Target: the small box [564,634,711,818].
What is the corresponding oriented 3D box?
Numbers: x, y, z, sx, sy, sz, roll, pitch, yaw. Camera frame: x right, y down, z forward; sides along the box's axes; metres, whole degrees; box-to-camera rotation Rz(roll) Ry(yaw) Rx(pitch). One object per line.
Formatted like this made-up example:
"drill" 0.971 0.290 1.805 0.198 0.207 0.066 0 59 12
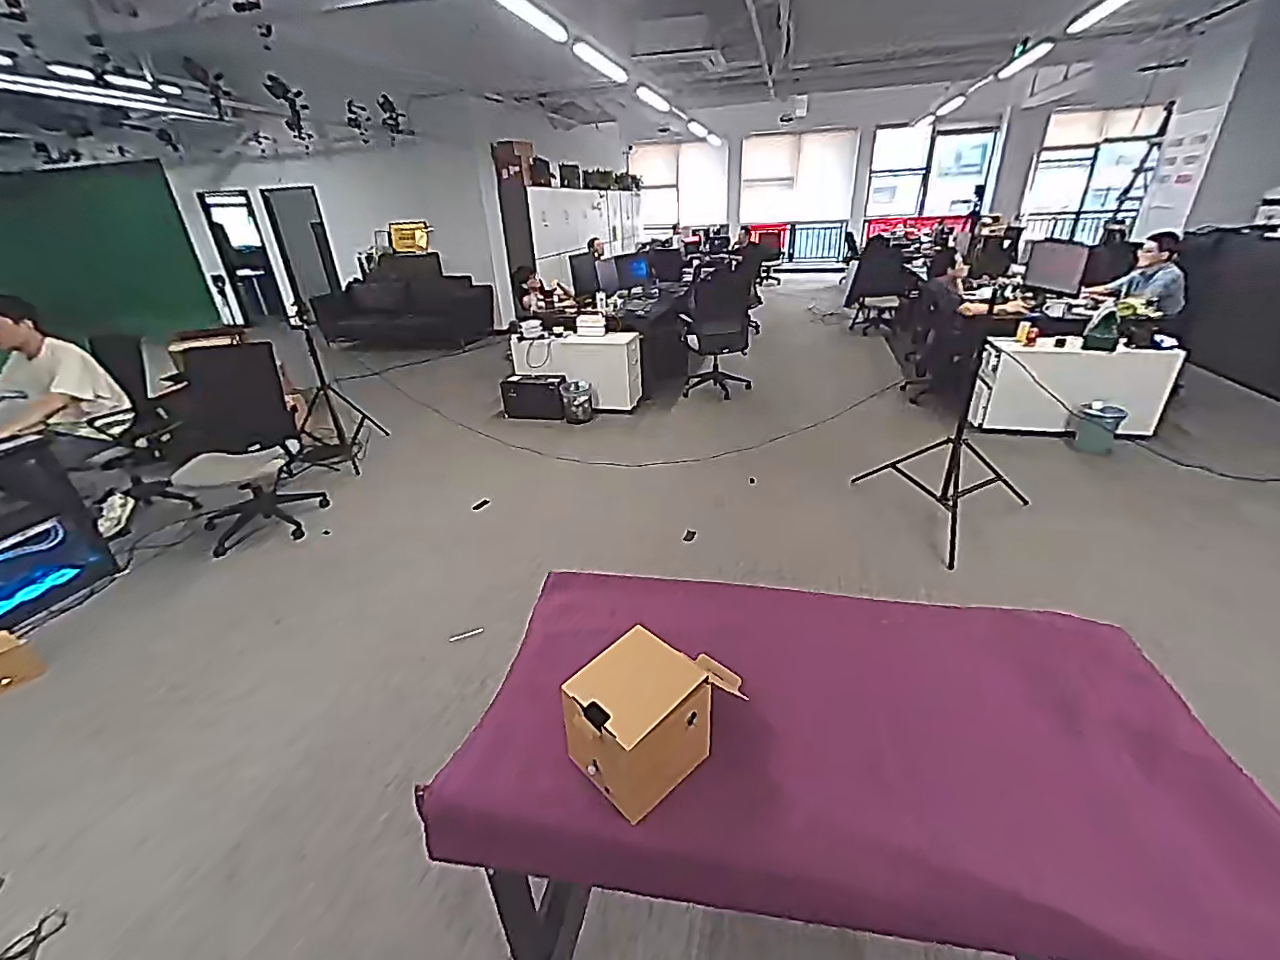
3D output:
"small box" -0.003 0.394 0.885 0.179 0.176 0.168 -24 32 -37
